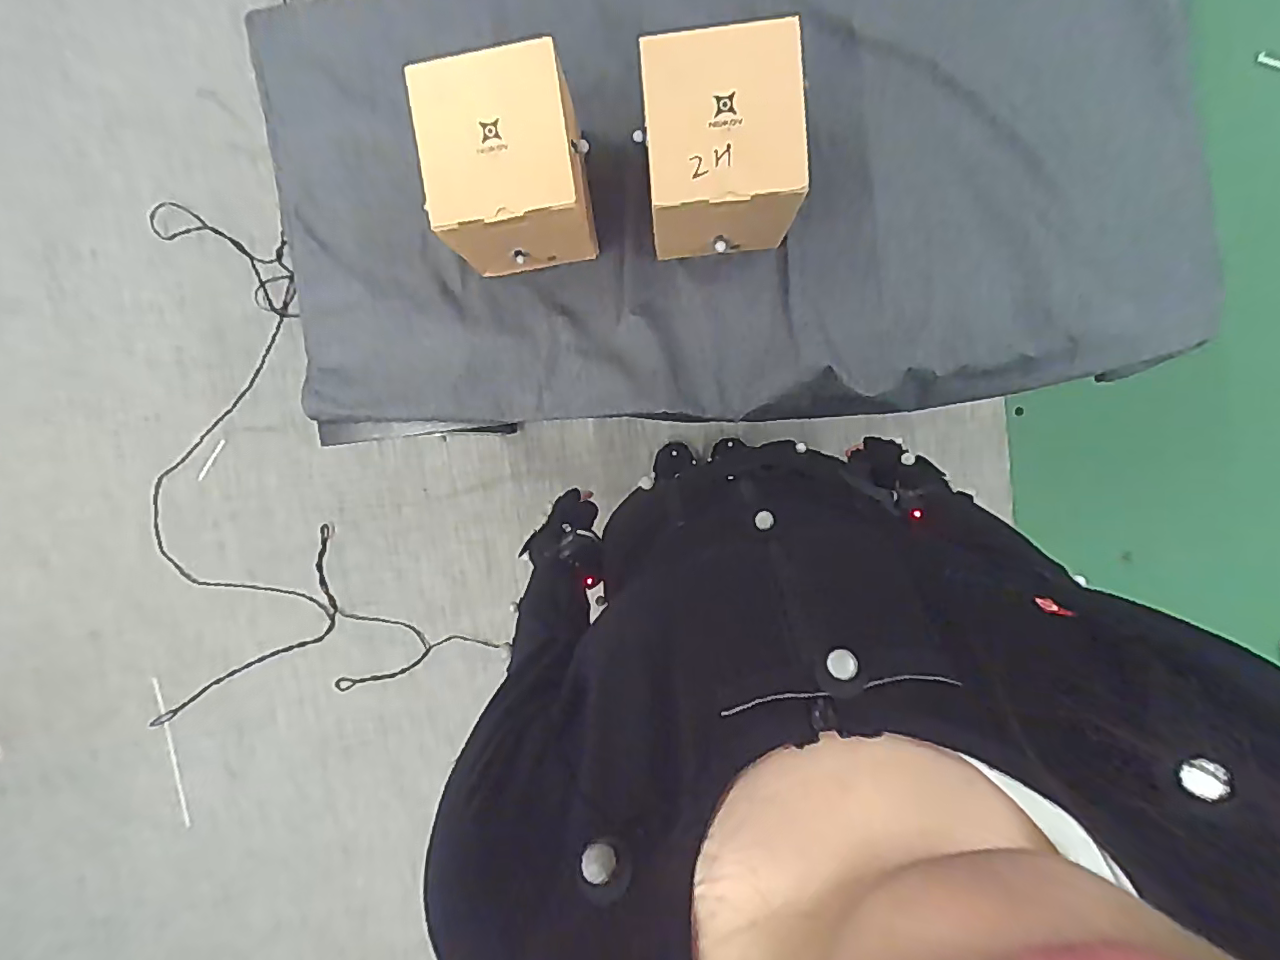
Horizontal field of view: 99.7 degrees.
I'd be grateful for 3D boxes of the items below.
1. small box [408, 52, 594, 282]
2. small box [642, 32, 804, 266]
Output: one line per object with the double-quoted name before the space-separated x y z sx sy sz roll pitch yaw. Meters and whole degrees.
"small box" -0.157 -0.366 0.665 0.168 0.176 0.179 -8 94 4
"small box" 0.090 -0.377 0.647 0.168 0.176 0.179 -4 94 4
